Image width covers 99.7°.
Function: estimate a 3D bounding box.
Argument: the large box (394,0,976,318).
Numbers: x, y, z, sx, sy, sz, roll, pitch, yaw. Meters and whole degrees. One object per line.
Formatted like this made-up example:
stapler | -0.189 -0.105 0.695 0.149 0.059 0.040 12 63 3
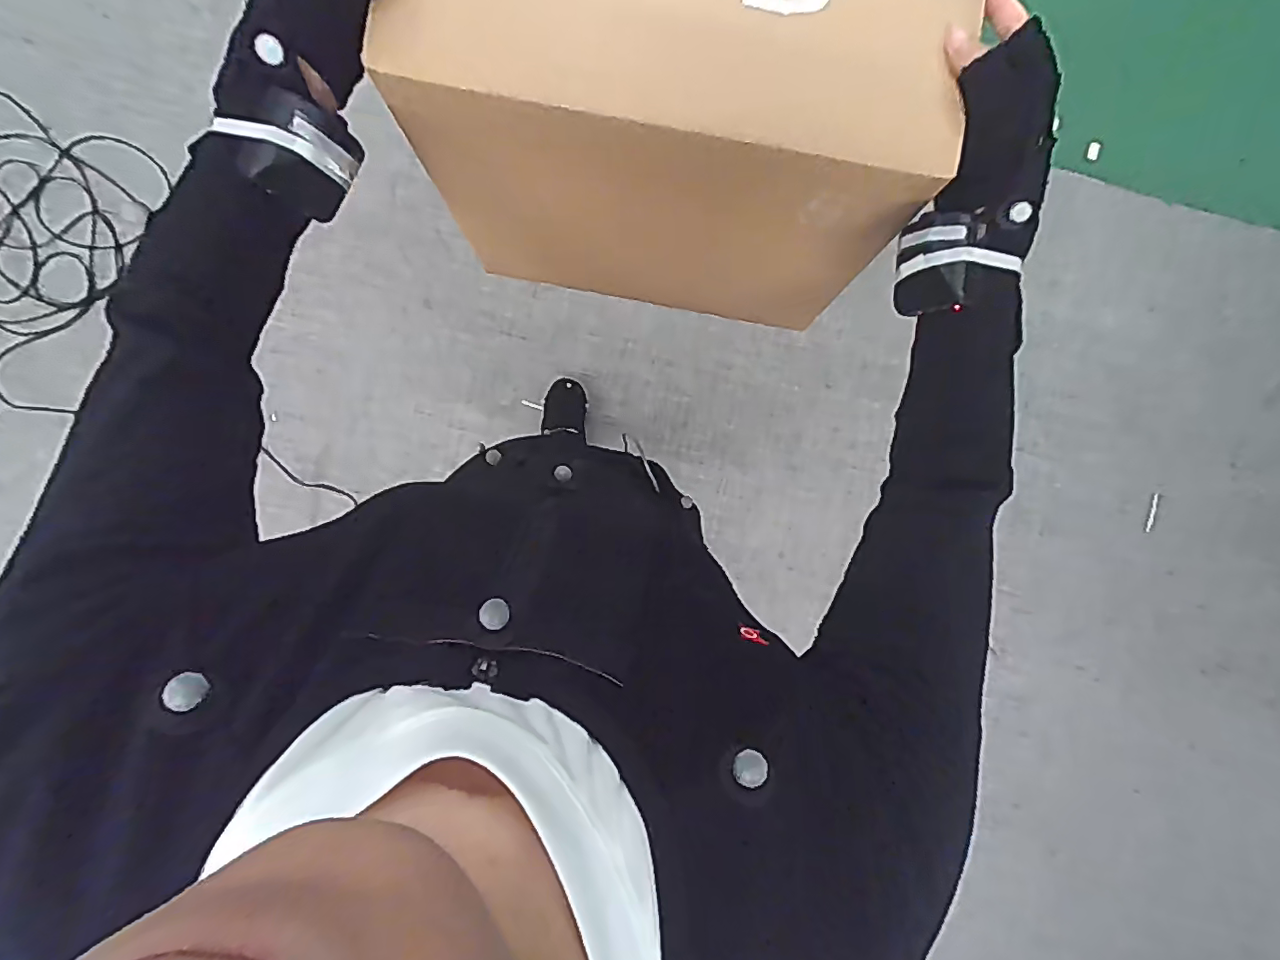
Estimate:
large box | 0.041 -0.387 0.531 0.408 0.320 0.320 10 87 -2
